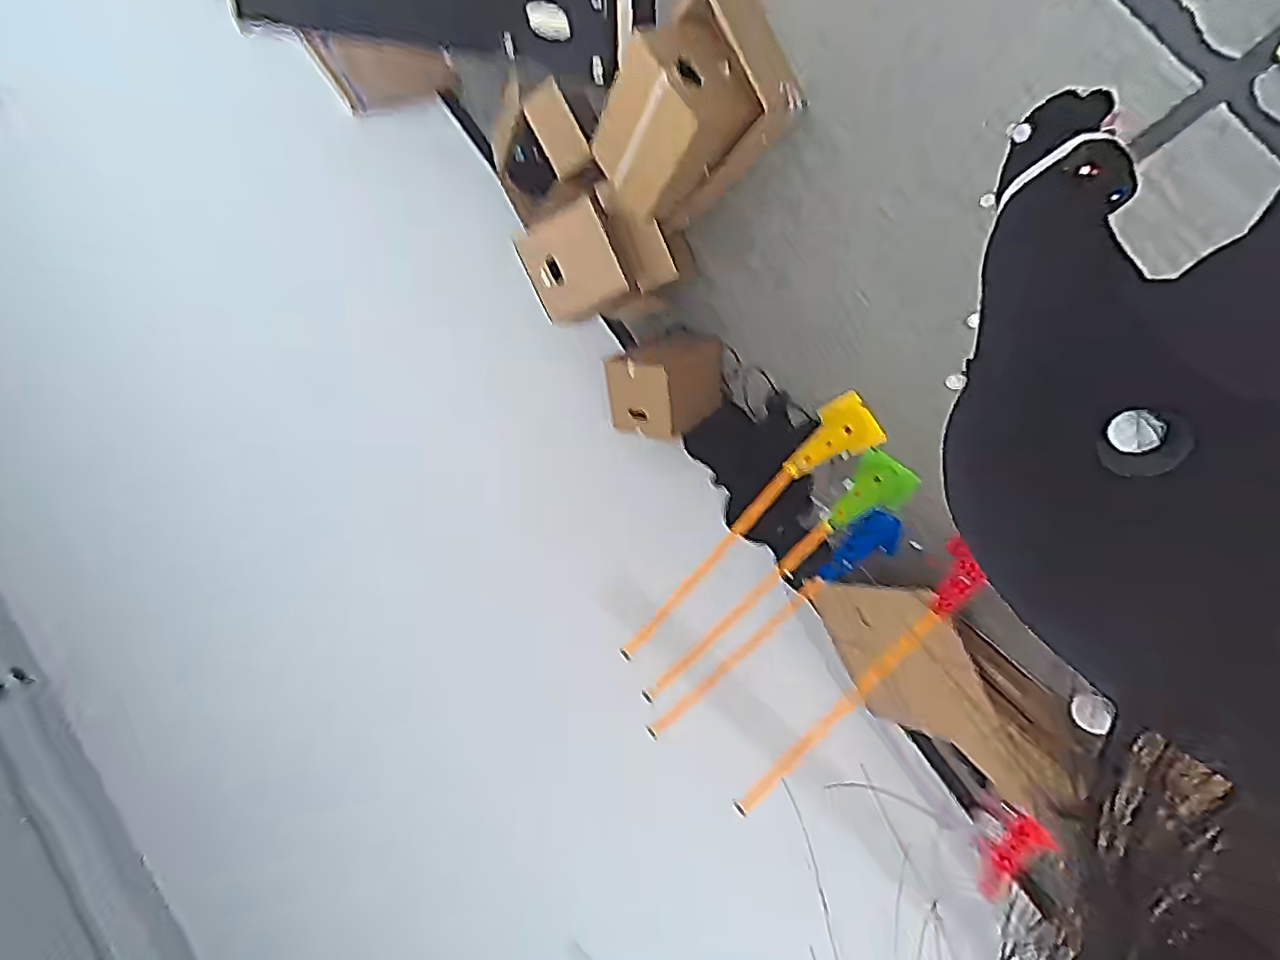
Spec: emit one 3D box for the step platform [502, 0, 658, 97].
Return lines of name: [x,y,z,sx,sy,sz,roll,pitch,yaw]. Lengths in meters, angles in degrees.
step platform: [-0.234,-1.599,1.932,0.684,0.204,0.286,39,146,31]
